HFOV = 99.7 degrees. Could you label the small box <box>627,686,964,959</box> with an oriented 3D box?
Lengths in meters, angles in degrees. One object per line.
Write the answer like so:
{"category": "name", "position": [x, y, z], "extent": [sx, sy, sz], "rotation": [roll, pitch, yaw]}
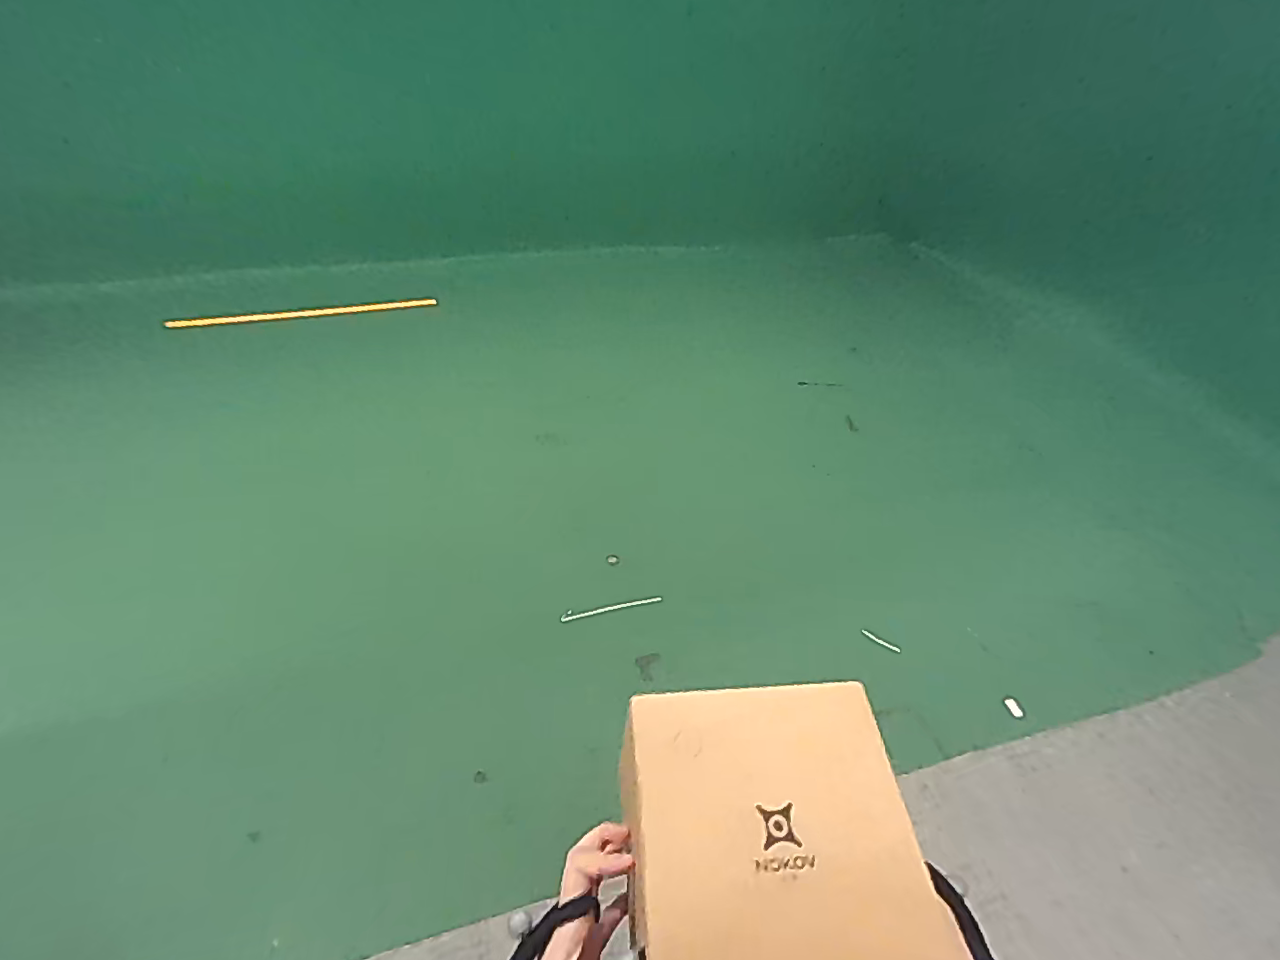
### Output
{"category": "small box", "position": [0.081, 0.265, 0.380], "extent": [0.168, 0.176, 0.179], "rotation": [0, 48, -6]}
